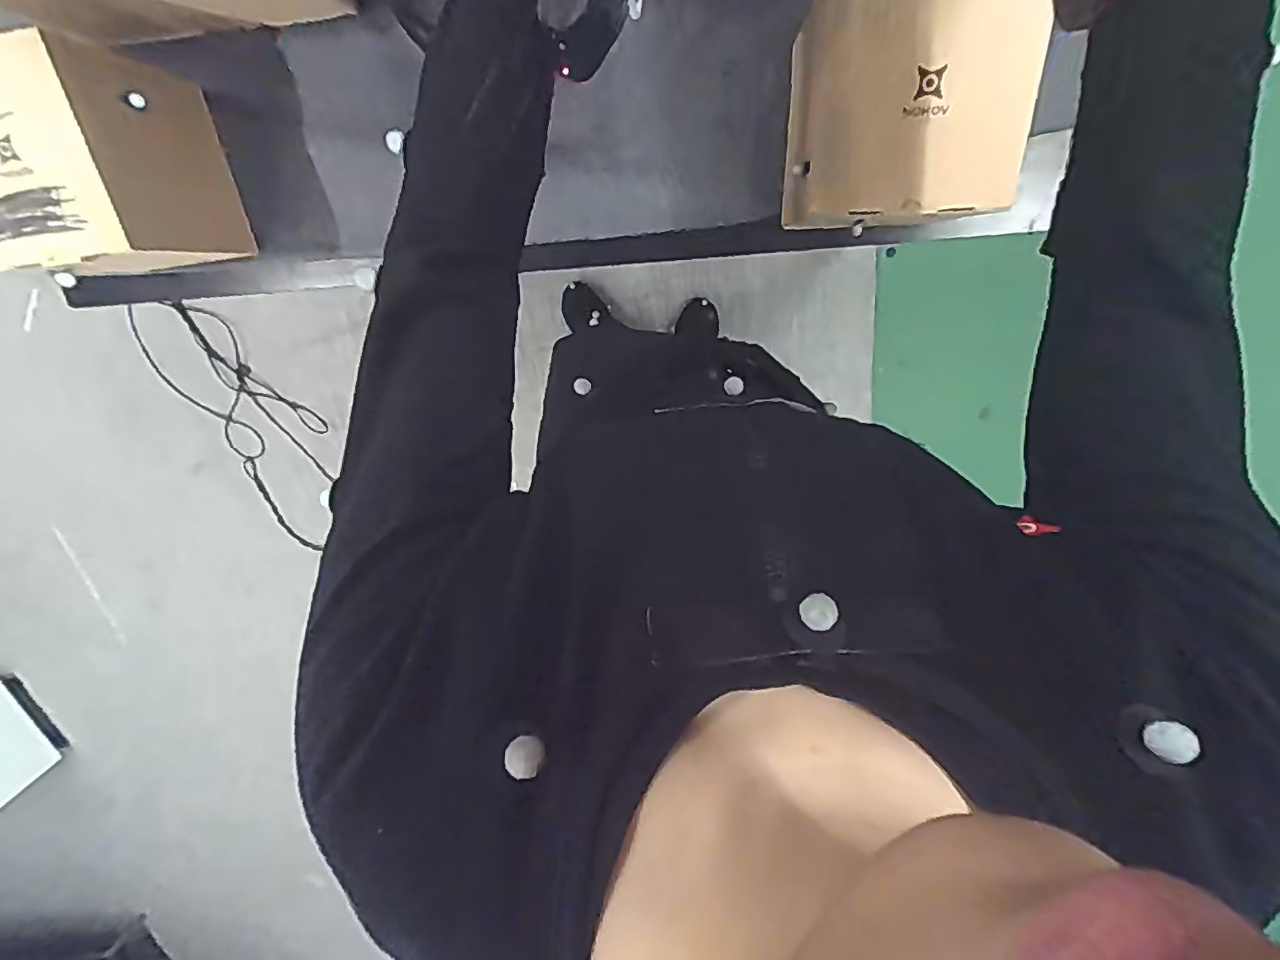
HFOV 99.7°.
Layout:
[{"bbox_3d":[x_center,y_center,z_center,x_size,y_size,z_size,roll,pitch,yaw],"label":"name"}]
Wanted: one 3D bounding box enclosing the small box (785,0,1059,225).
[{"bbox_3d":[0.234,-0.338,0.498,0.168,0.176,0.179,1,113,5],"label":"small box"}]
